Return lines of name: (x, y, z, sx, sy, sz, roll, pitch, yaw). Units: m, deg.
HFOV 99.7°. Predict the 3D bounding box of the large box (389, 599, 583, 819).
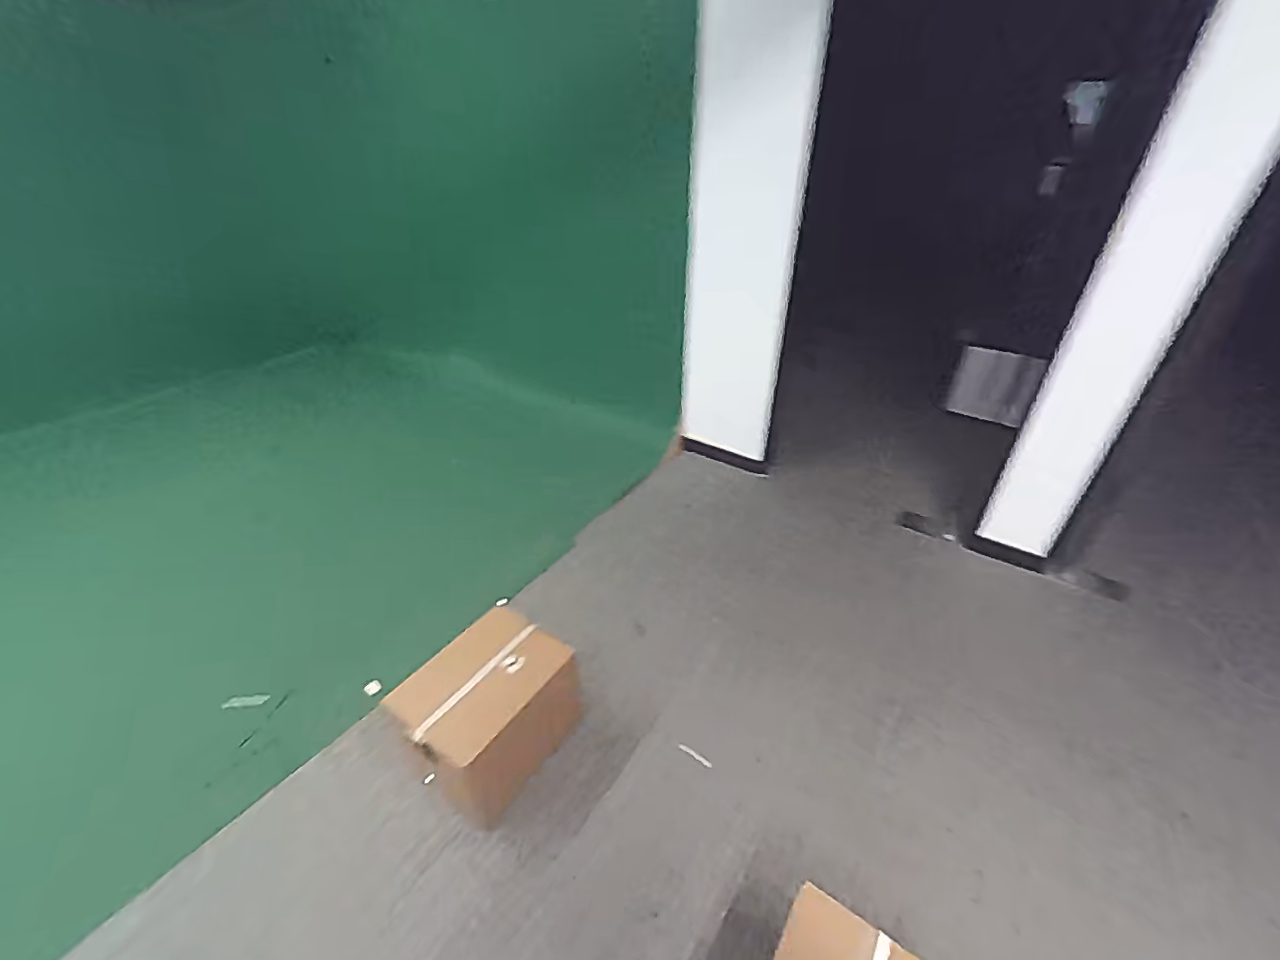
large box: (-0.407, 0.623, 1.515, 0.320, 0.320, 0.408, 22, 40, 28)
